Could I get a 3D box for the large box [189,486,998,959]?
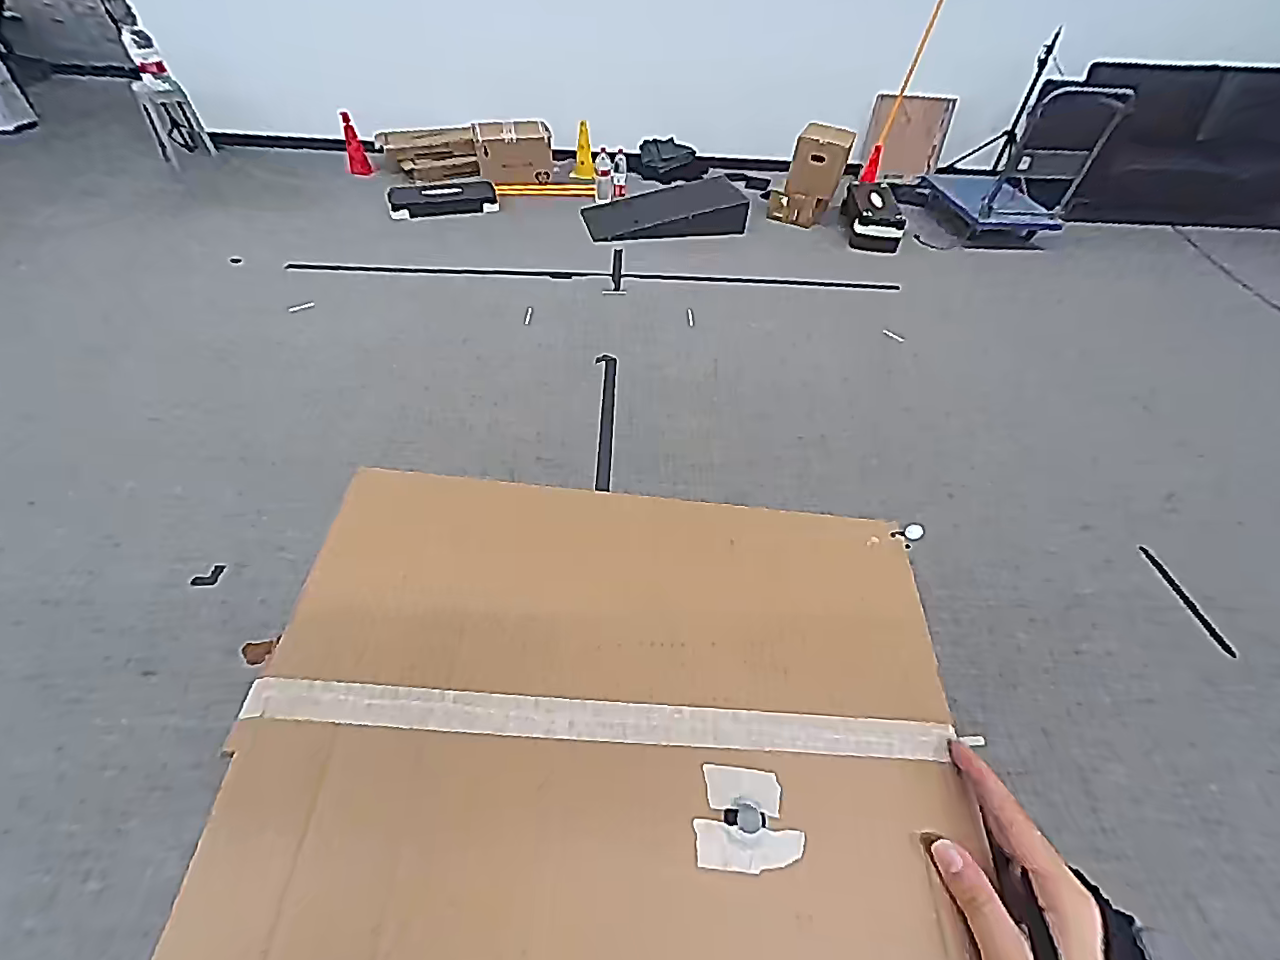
[{"bbox_3d":[-0.026,0.230,0.445,0.408,0.320,0.320,6,56,-5],"label":"large box"}]
